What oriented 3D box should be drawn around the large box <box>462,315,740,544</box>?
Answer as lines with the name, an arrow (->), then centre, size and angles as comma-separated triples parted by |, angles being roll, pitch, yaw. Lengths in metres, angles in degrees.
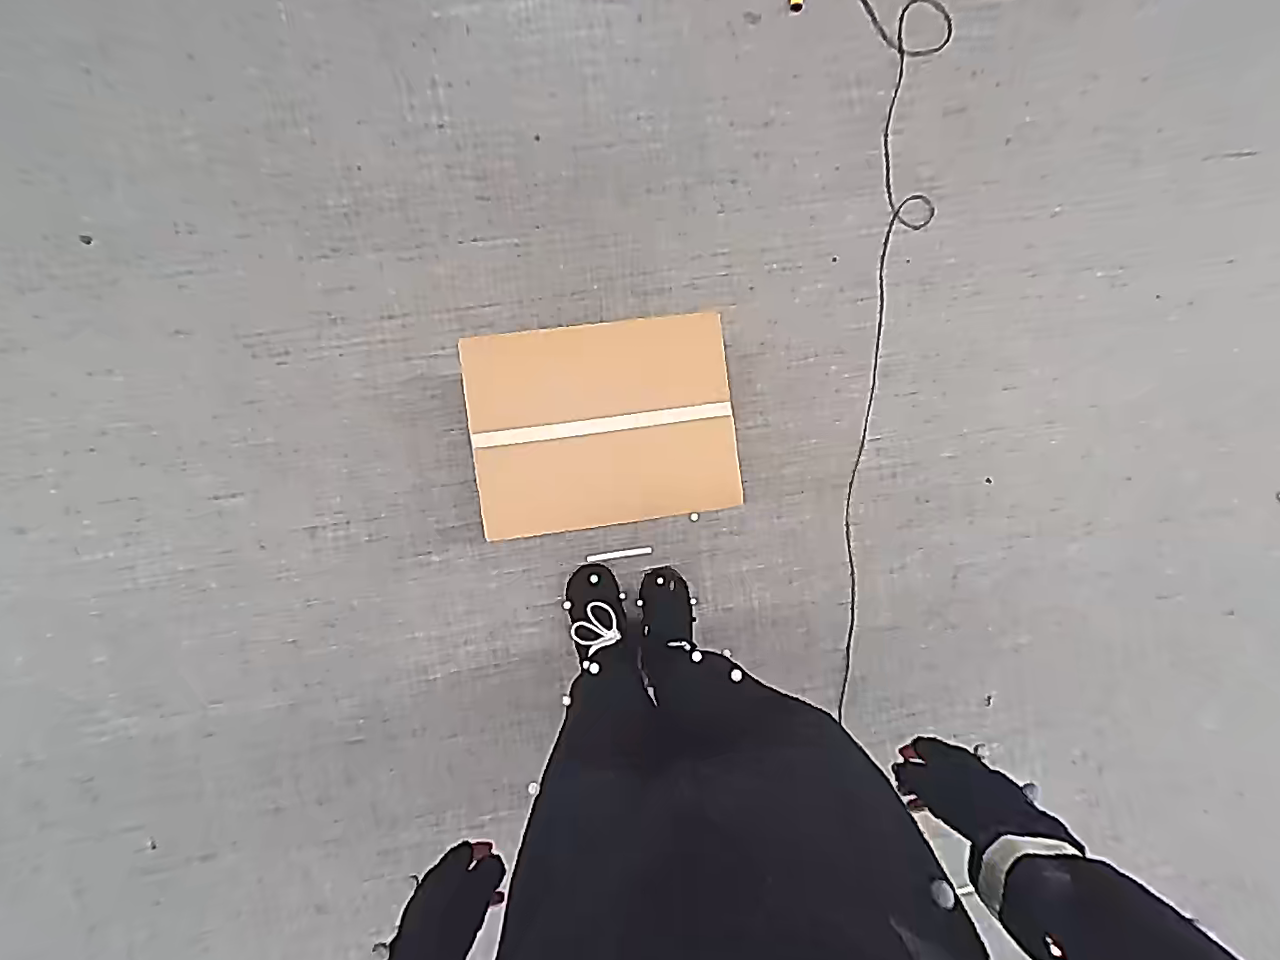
large box -> -0.068, -0.083, 0.989 | 0.408, 0.320, 0.320 | -8, 90, -5
